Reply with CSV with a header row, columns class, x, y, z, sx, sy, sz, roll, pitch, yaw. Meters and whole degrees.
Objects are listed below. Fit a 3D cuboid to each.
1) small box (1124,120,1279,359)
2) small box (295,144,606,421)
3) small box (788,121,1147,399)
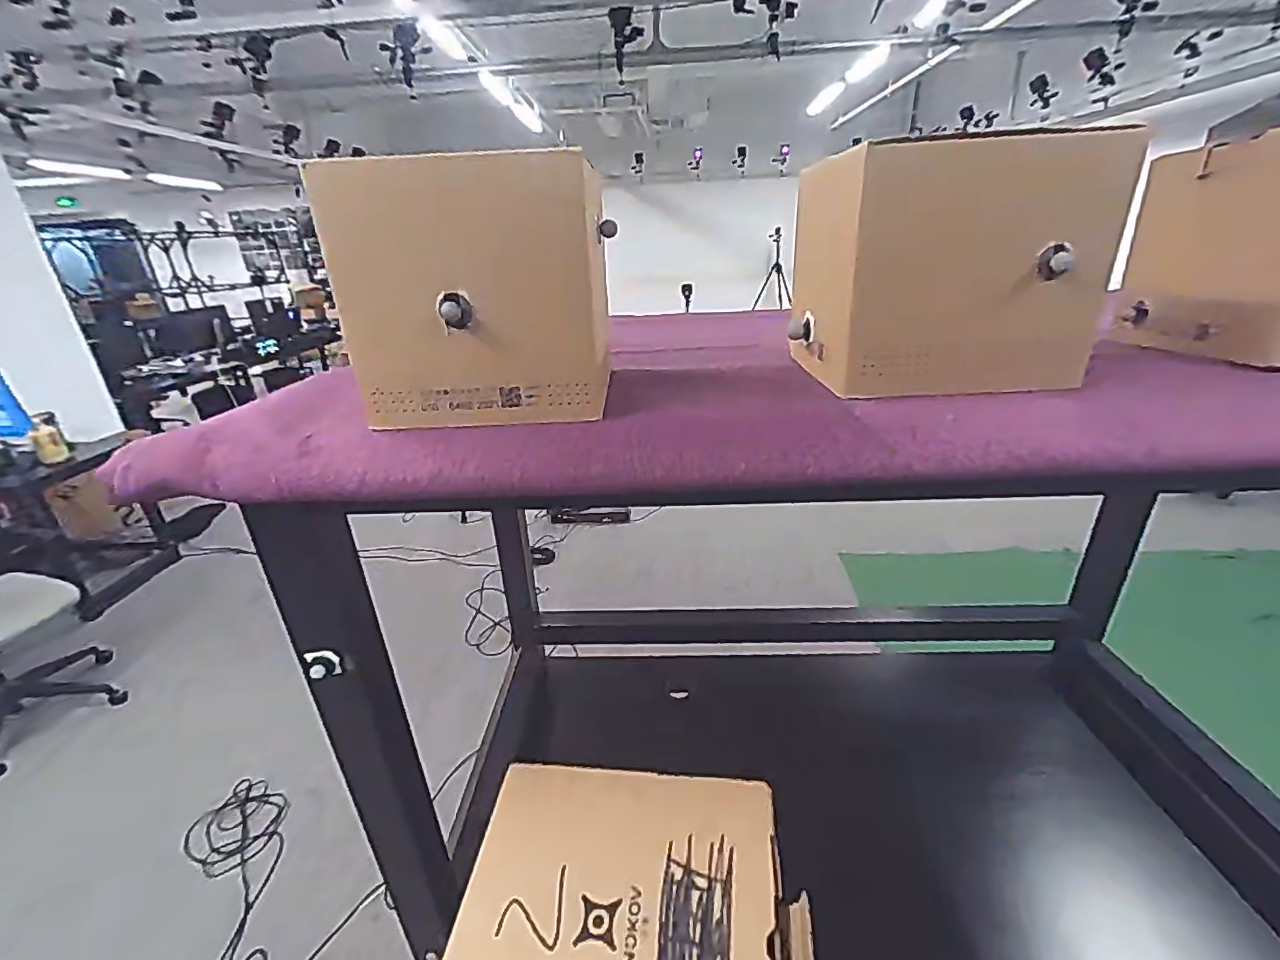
class,x,y,z,sx,sy,sz,roll,pitch,yaw
small box,0.549,-0.195,0.440,0.179,0.176,0.168,-1,22,4
small box,-0.115,-0.147,0.418,0.168,0.176,0.179,-2,25,0
small box,0.227,-0.169,0.433,0.179,0.176,0.168,-4,24,2
